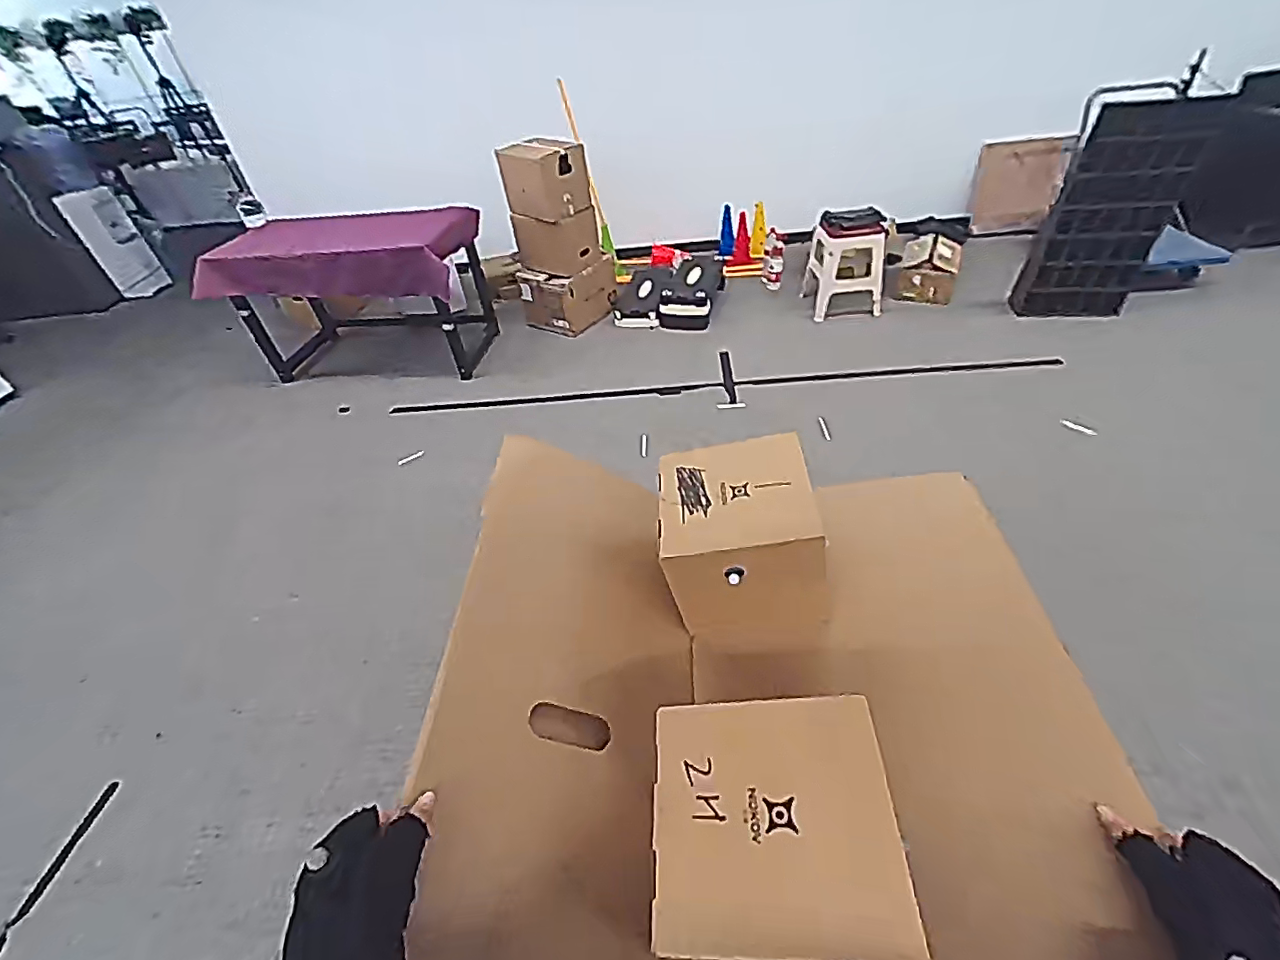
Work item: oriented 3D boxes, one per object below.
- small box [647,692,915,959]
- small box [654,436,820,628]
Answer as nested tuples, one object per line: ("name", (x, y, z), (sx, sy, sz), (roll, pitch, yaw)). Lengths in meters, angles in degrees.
("small box", (0.114, 0.299, 0.465), (0.179, 0.176, 0.168), (-9, 44, 13))
("small box", (0.122, 0.072, 0.689), (0.179, 0.176, 0.168), (-10, 44, 11))
